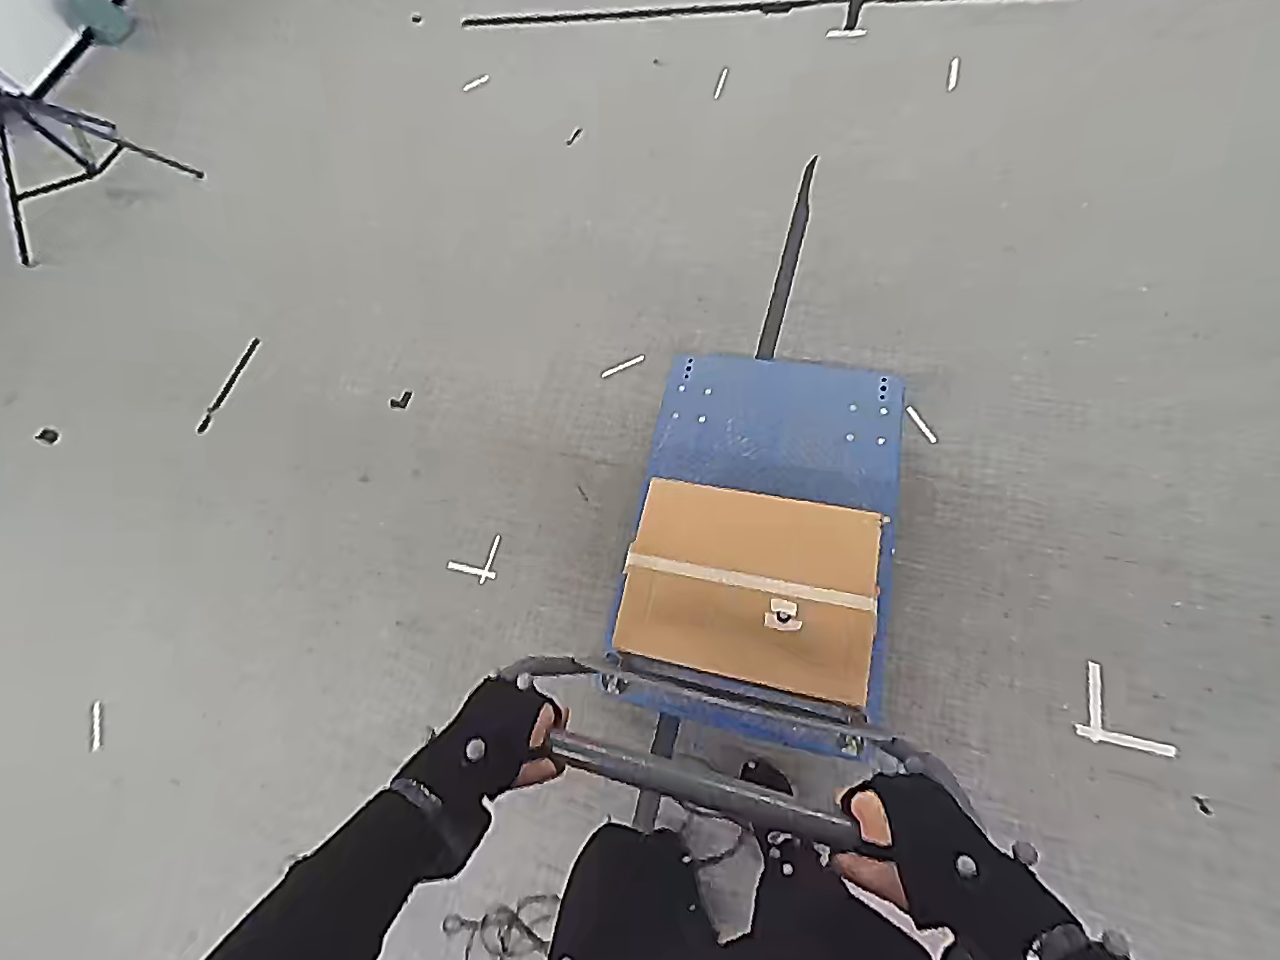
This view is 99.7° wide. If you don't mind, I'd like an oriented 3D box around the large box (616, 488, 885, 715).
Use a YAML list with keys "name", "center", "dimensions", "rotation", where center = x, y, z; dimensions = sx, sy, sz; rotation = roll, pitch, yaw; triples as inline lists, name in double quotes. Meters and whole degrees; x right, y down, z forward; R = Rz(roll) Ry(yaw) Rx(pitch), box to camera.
- name: "large box"
  center: [0.204, 0.235, 1.019]
  dimensions: [0.408, 0.320, 0.320]
  rotation: [9, 71, 14]
